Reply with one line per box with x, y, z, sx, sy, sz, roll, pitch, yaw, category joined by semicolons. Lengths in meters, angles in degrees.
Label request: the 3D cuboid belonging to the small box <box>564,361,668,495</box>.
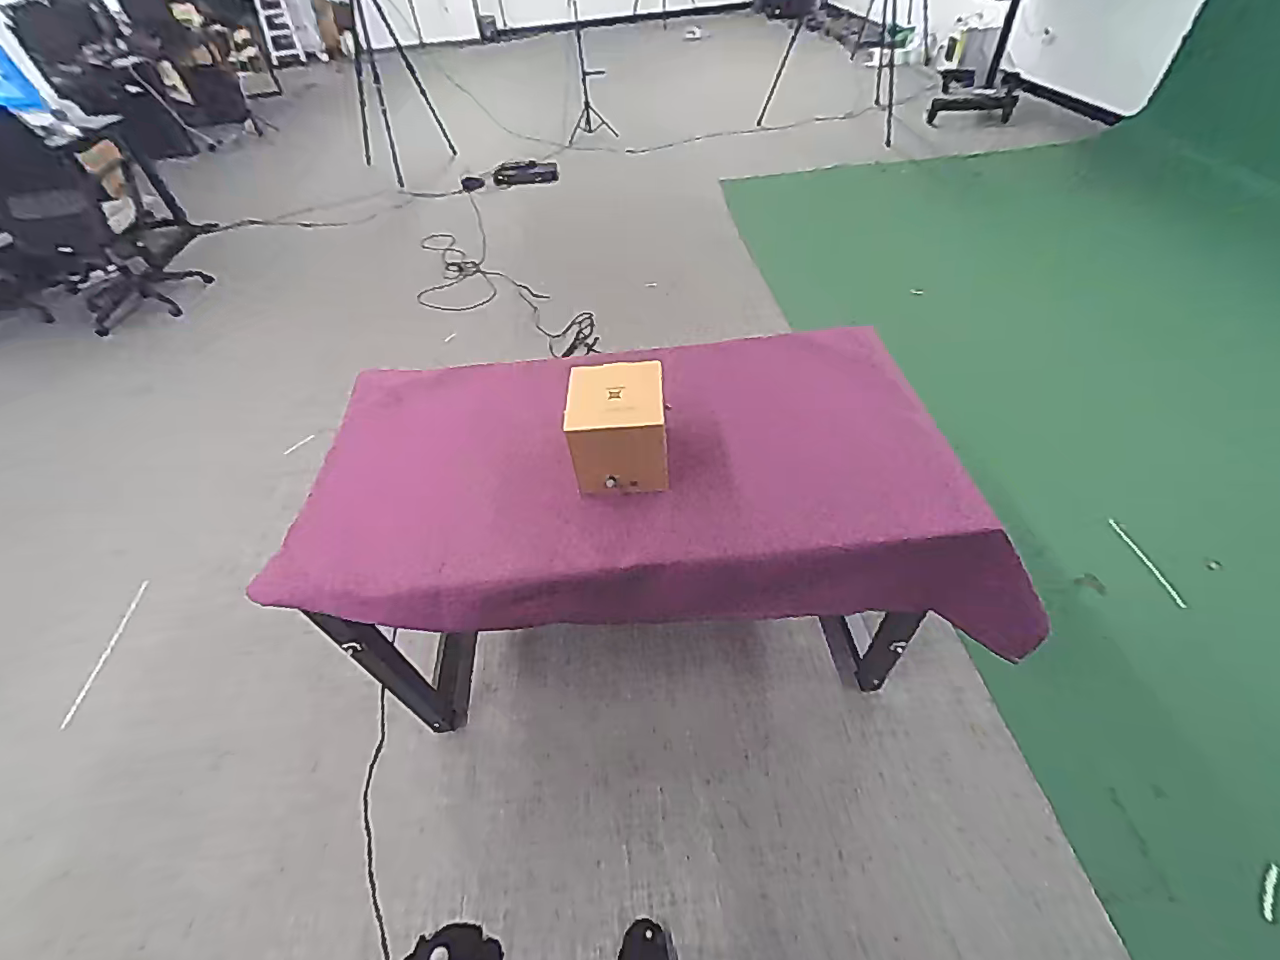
-0.035;-0.093;0.979;0.168;0.176;0.179;-4;48;4;small box
